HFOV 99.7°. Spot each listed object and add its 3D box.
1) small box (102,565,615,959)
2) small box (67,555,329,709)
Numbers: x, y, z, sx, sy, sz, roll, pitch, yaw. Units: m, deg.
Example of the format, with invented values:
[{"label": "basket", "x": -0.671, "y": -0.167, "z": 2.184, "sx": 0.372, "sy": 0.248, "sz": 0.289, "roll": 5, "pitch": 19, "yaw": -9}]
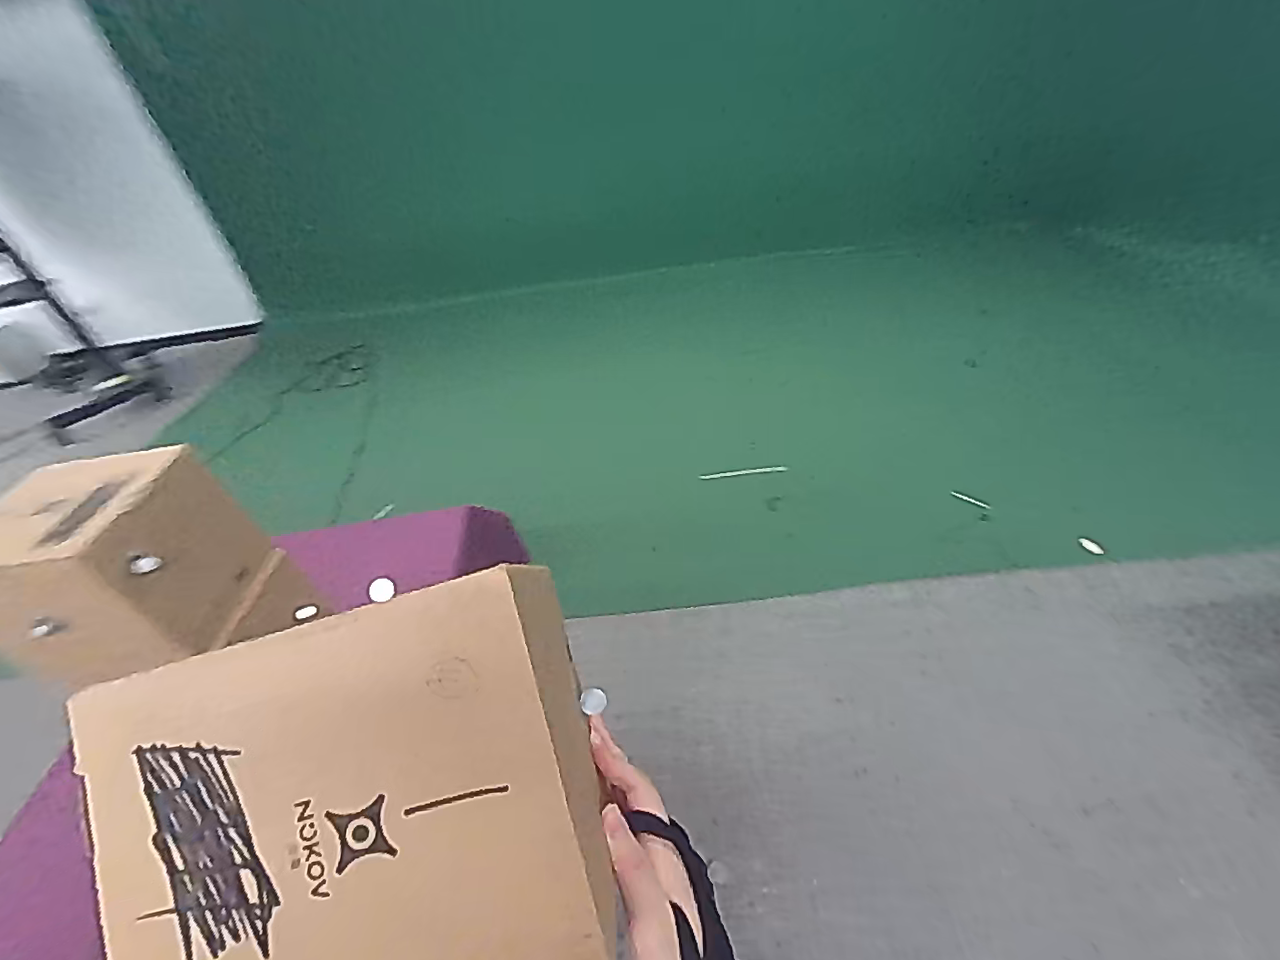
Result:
[{"label": "small box", "x": -0.116, "y": 0.150, "z": 0.291, "sx": 0.179, "sy": 0.176, "sz": 0.168, "roll": -15, "pitch": 81, "yaw": -5}, {"label": "small box", "x": -0.525, "y": 0.219, "z": 0.688, "sx": 0.179, "sy": 0.176, "sz": 0.168, "roll": -8, "pitch": 39, "yaw": 4}]
